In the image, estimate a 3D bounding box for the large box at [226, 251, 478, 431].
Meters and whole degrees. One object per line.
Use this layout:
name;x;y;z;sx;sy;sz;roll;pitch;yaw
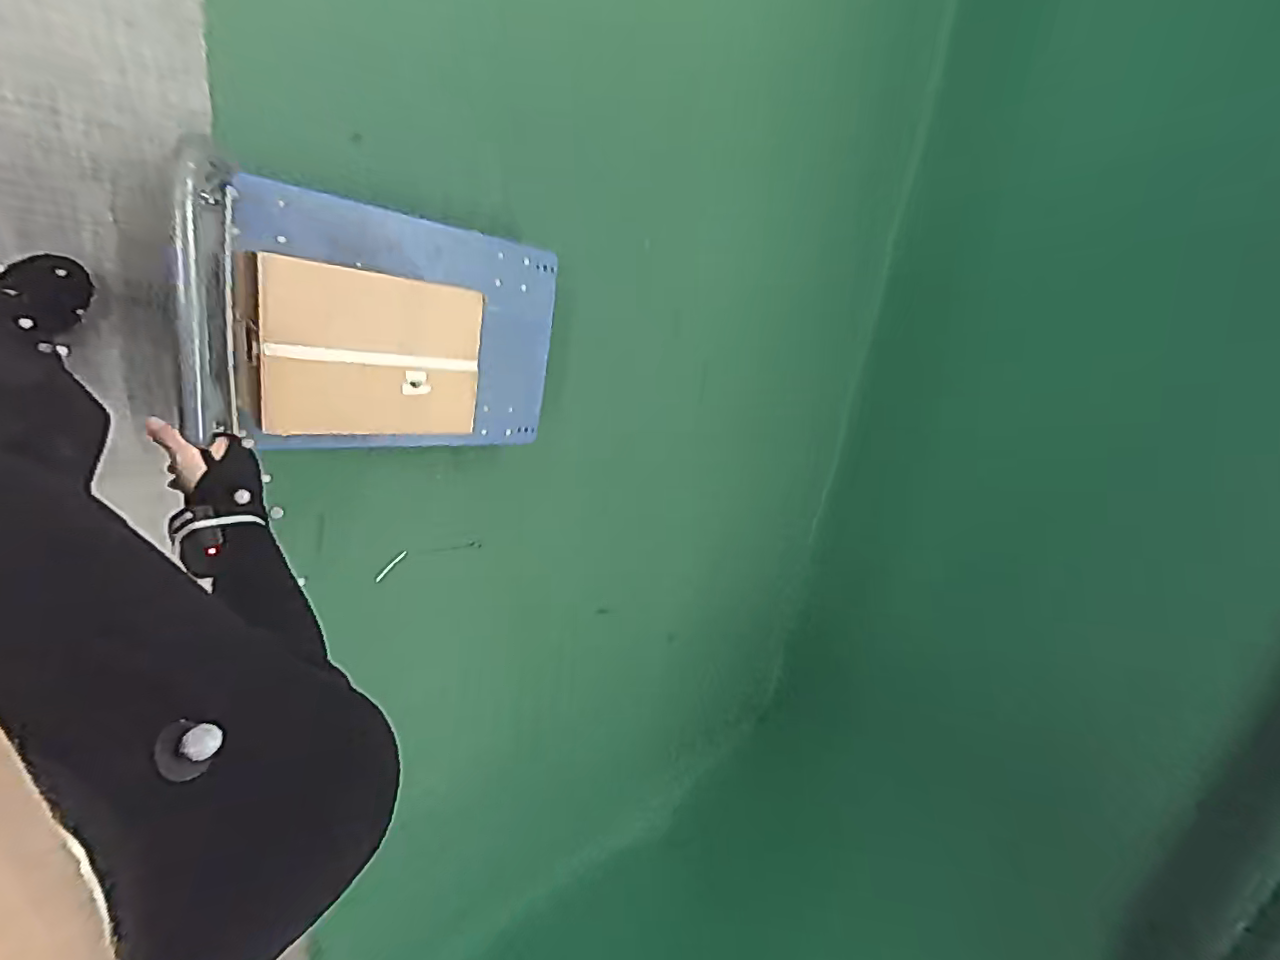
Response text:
large box;-0.617;-0.293;1.165;0.408;0.320;0.320;-4;112;-44
